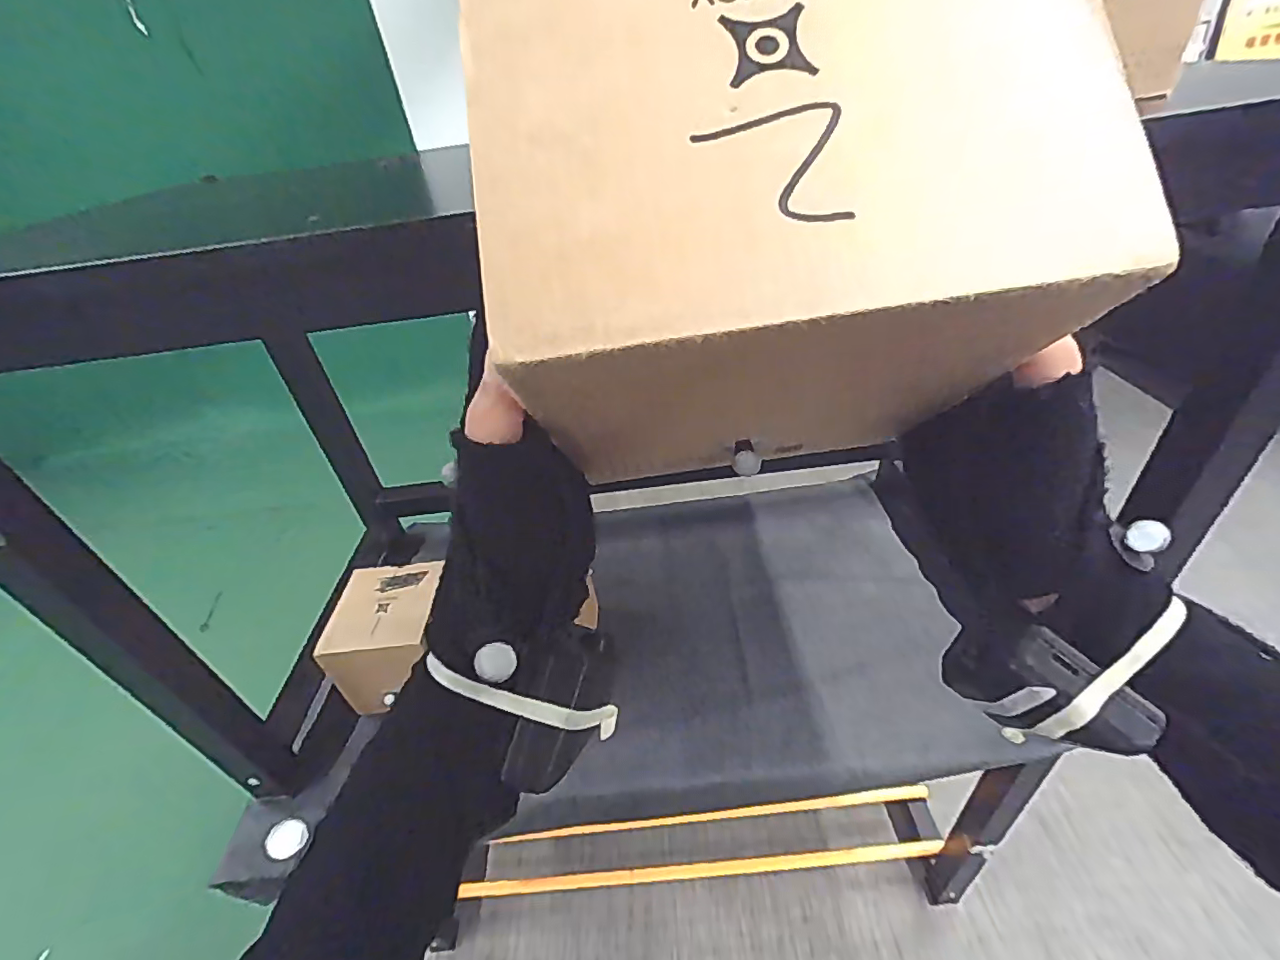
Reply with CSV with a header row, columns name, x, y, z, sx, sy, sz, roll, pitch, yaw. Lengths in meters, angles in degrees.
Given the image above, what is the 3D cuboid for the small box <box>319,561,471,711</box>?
name,x,y,z,sx,sy,sz,roll,pitch,yaw
small box,-0.395,0.263,0.917,0.168,0.176,0.179,-6,37,2

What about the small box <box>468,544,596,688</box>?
name,x,y,z,sx,sy,sz,roll,pitch,yaw
small box,-0.170,0.235,0.917,0.168,0.176,0.179,-6,36,3
